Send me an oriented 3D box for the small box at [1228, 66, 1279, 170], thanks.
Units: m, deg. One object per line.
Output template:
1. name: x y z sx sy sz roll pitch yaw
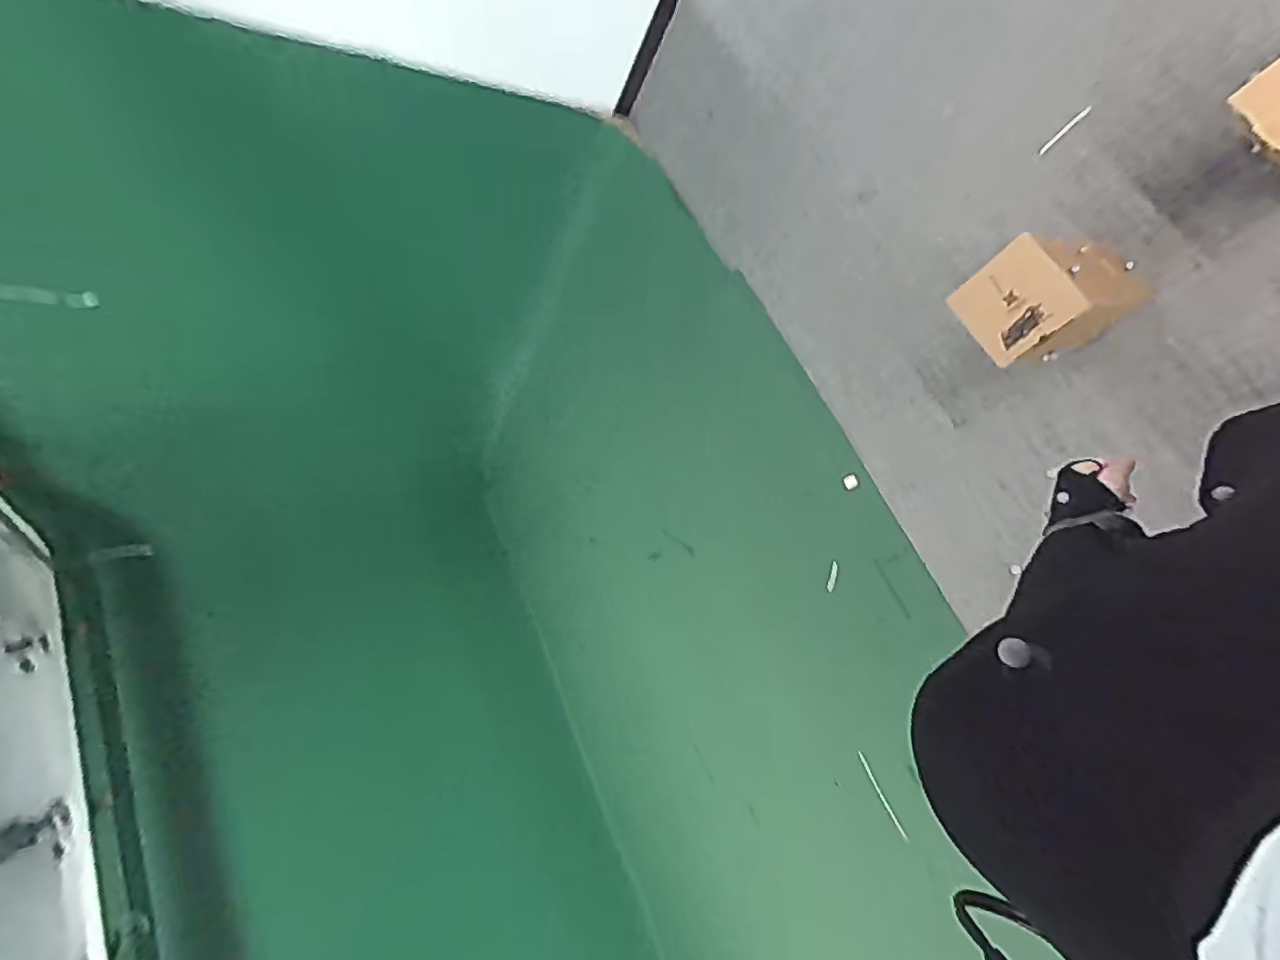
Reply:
1. small box: 1.059 -0.572 0.813 0.179 0.176 0.168 -47 63 49

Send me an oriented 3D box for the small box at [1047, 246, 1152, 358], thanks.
1. small box: 0.993 -0.396 1.223 0.179 0.176 0.168 -46 64 48

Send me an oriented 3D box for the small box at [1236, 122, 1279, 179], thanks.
1. small box: 1.182 -0.605 0.914 0.168 0.176 0.179 -44 66 48

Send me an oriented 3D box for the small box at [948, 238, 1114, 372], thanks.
1. small box: 0.740 -0.328 1.025 0.168 0.176 0.179 -49 61 47
